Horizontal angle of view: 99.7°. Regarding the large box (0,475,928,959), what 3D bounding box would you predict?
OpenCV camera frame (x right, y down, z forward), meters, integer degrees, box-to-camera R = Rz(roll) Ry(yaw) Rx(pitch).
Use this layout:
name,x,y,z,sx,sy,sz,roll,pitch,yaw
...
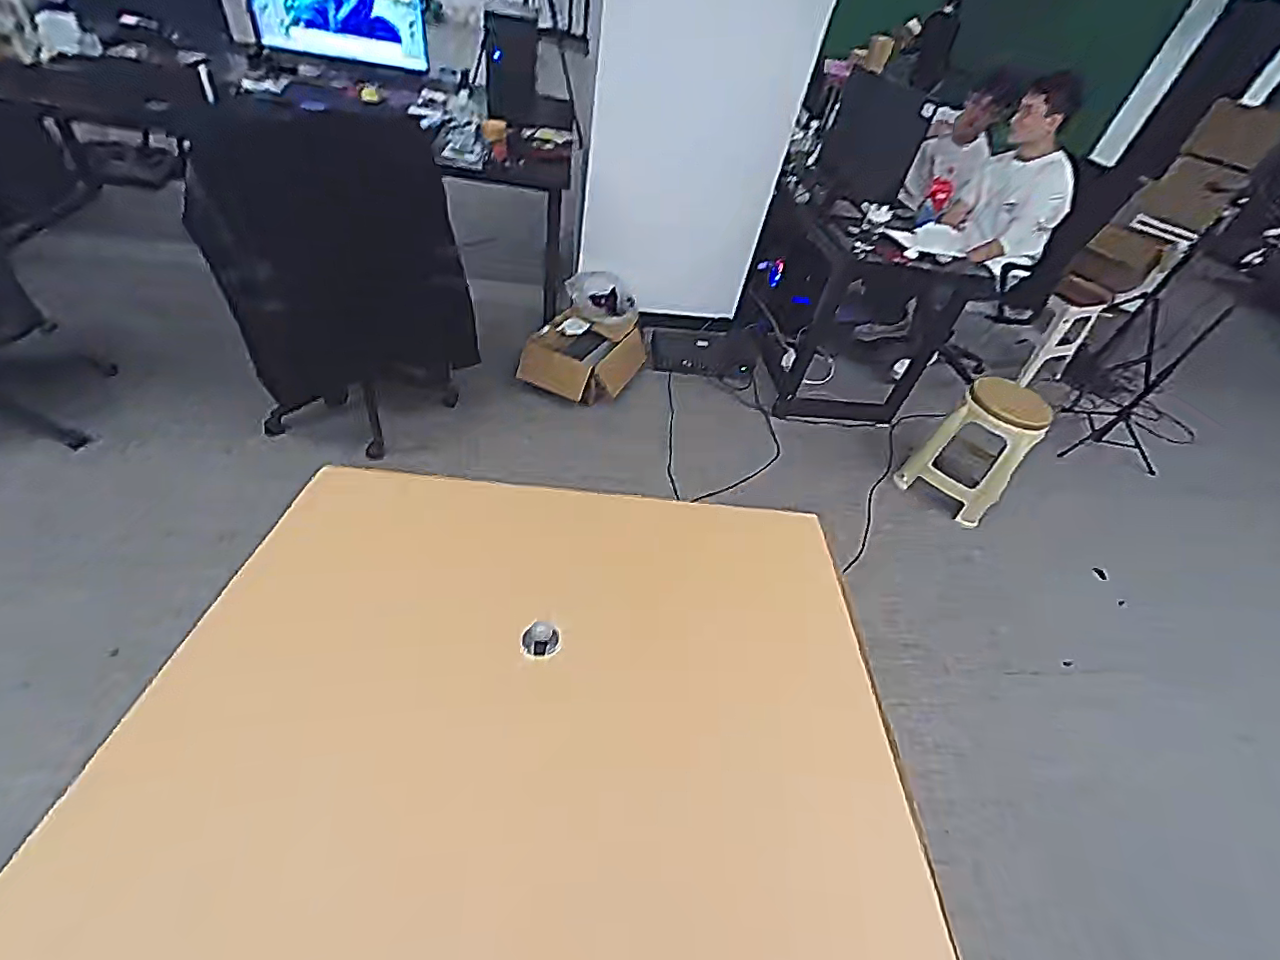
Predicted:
name,x,y,z,sx,sy,sz,roll,pitch,yaw
large box,-0.084,0.214,0.419,0.408,0.320,0.320,4,41,-2
